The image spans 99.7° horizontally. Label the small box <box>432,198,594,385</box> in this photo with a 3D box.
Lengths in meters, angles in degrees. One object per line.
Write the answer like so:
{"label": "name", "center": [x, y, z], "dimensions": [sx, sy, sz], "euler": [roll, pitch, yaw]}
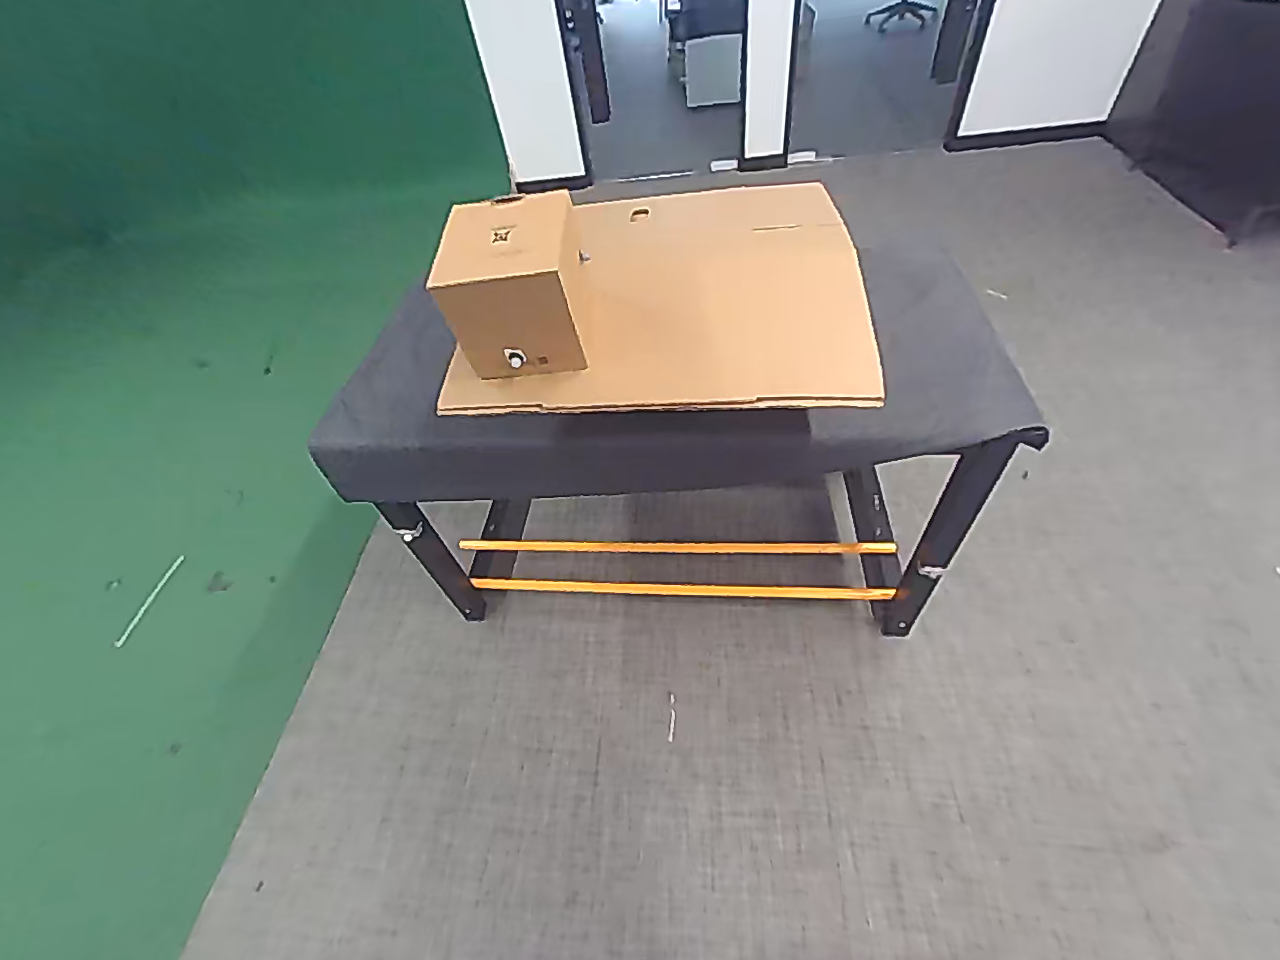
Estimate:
{"label": "small box", "center": [-0.163, -0.259, 0.760], "dimensions": [0.168, 0.176, 0.179], "euler": [-6, 57, 7]}
